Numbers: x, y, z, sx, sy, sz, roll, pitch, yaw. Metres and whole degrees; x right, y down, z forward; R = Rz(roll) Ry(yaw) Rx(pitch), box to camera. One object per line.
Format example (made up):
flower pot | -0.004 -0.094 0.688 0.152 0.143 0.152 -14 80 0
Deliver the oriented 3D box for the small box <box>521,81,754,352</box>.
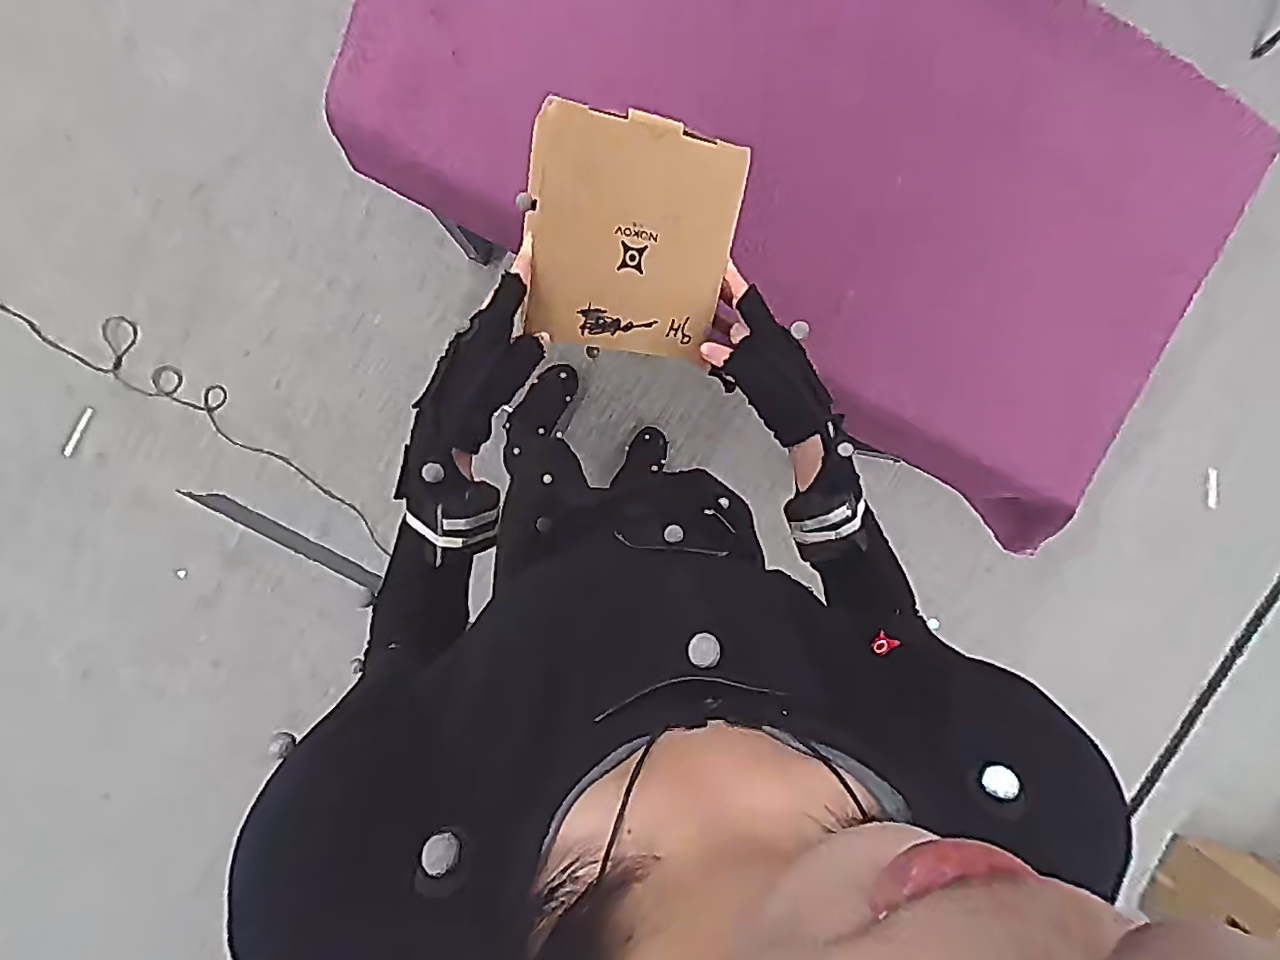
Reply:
small box | -0.020 -0.237 0.512 0.168 0.176 0.179 5 116 -16
